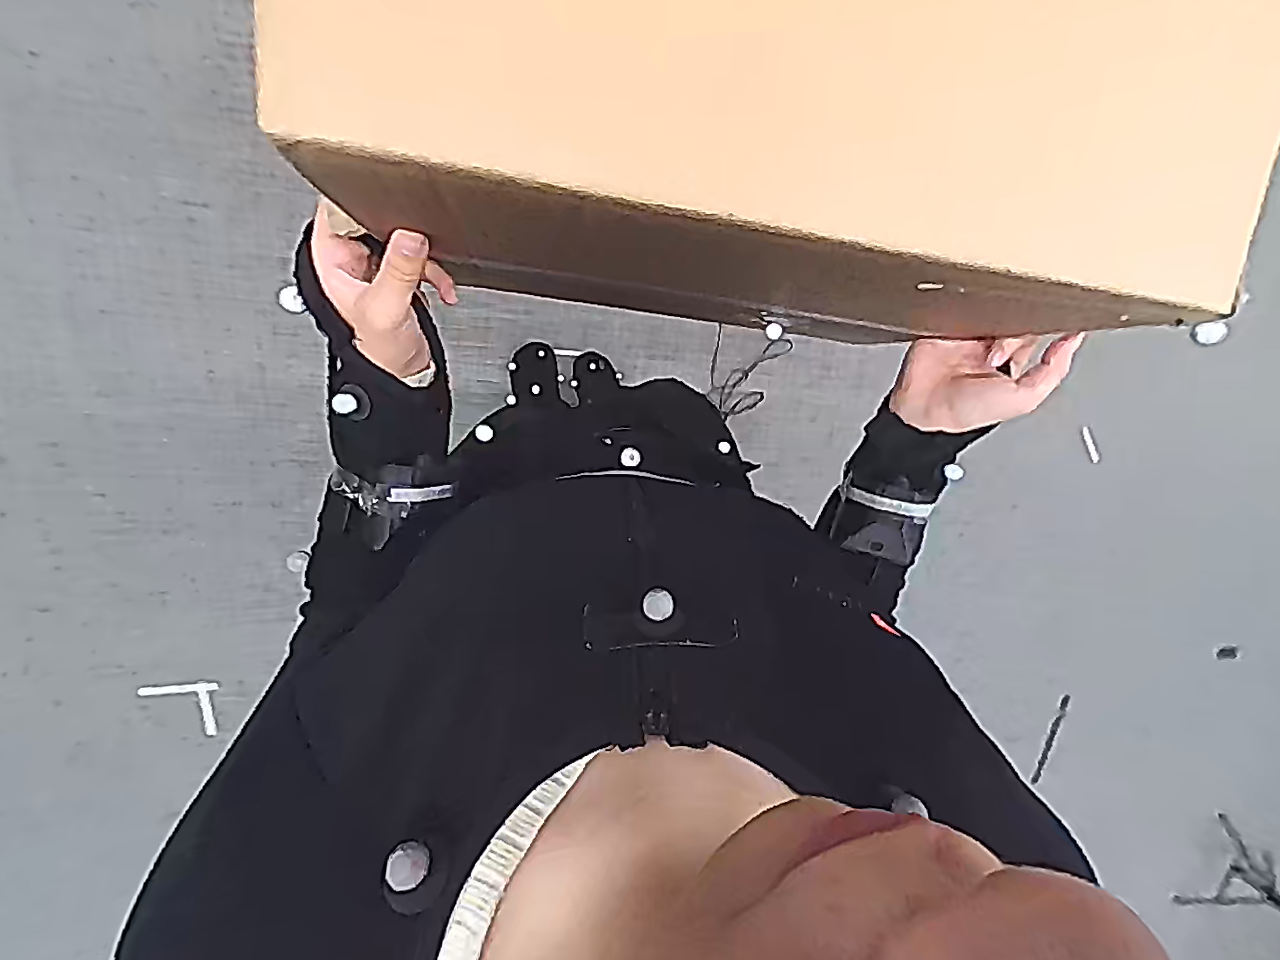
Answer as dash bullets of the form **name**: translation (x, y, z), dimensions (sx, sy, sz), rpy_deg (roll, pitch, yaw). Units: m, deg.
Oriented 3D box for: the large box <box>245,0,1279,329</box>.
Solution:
- **large box**: translation (0.061, -0.278, 0.316), dimensions (0.408, 0.320, 0.320), rpy_deg (4, 102, -12)
